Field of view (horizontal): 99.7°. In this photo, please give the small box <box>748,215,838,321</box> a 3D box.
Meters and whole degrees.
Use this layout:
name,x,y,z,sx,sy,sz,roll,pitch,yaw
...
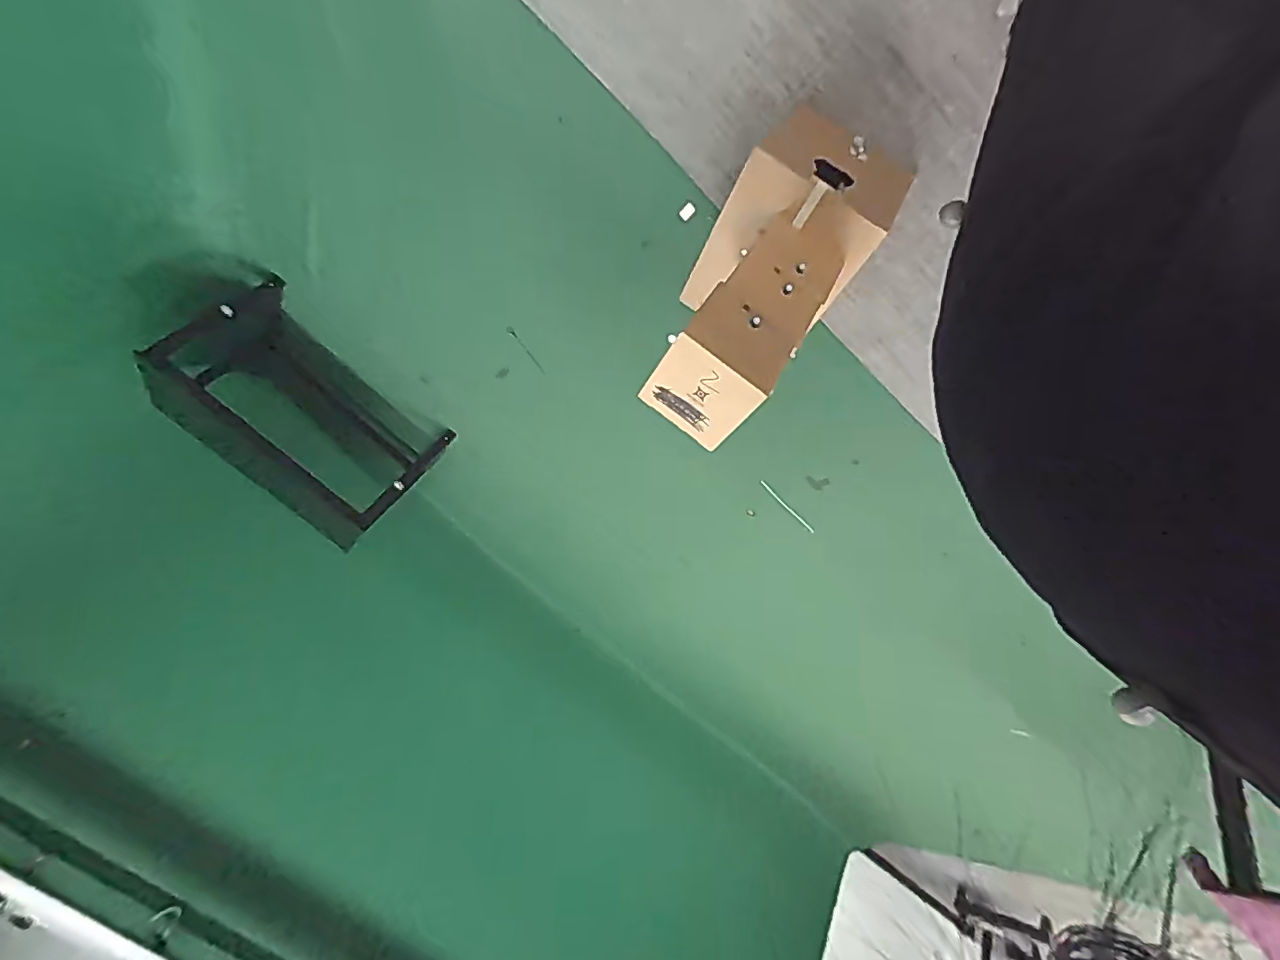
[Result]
name,x,y,z,sx,sy,sz,roll,pitch,yaw
small box,0.278,-0.405,1.113,0.179,0.176,0.168,36,145,-4

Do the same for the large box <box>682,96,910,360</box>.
name,x,y,z,sx,sy,sz,roll,pitch,yaw
large box,0.353,-0.579,1.274,0.320,0.320,0.408,34,147,1

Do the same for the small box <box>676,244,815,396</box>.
name,x,y,z,sx,sy,sz,roll,pitch,yaw
small box,0.201,-0.300,1.017,0.168,0.176,0.179,37,144,-5
